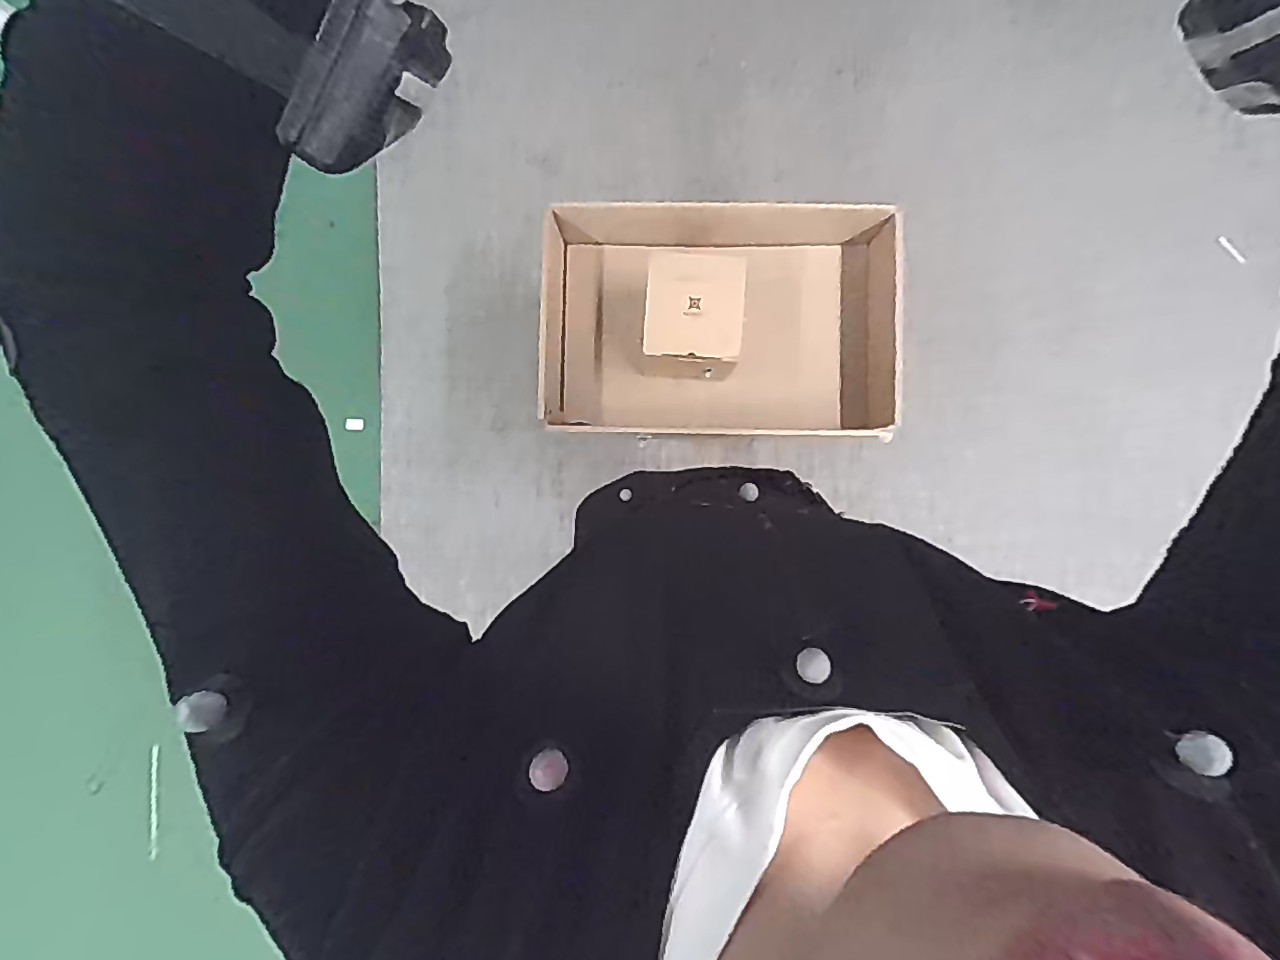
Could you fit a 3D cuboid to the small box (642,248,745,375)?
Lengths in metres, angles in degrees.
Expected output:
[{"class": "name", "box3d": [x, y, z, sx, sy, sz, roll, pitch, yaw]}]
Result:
[{"class": "small box", "box3d": [0.090, -0.296, 0.984, 0.168, 0.176, 0.179, 3, 87, -1]}]
